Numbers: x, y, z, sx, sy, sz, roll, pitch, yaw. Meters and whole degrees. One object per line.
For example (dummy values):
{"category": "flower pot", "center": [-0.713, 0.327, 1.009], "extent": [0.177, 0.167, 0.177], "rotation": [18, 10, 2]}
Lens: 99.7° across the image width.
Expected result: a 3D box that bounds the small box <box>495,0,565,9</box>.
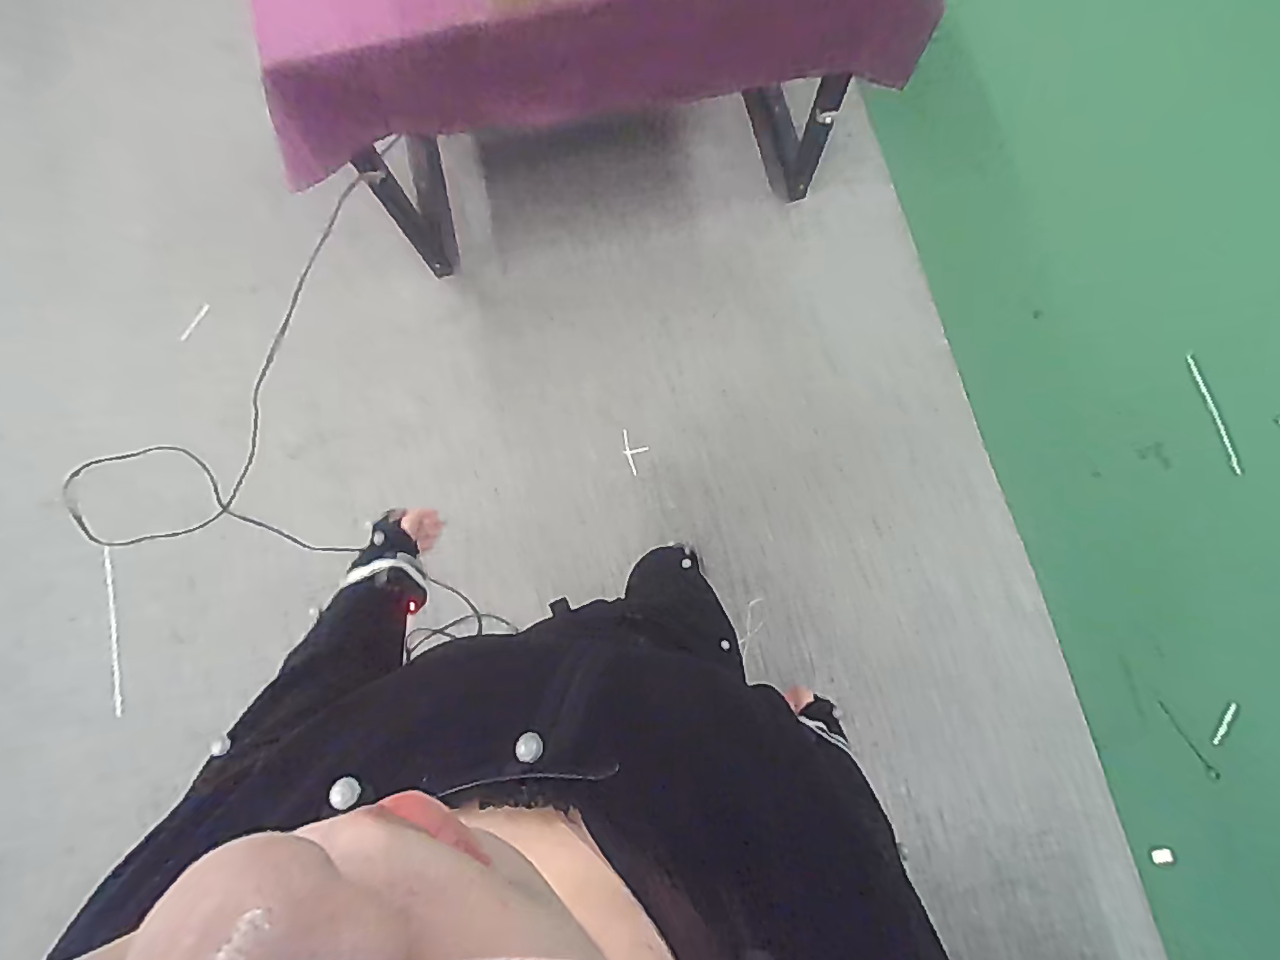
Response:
{"category": "small box", "center": [-0.193, -0.941, 0.893], "extent": [0.168, 0.176, 0.179], "rotation": [-10, 80, 1]}
